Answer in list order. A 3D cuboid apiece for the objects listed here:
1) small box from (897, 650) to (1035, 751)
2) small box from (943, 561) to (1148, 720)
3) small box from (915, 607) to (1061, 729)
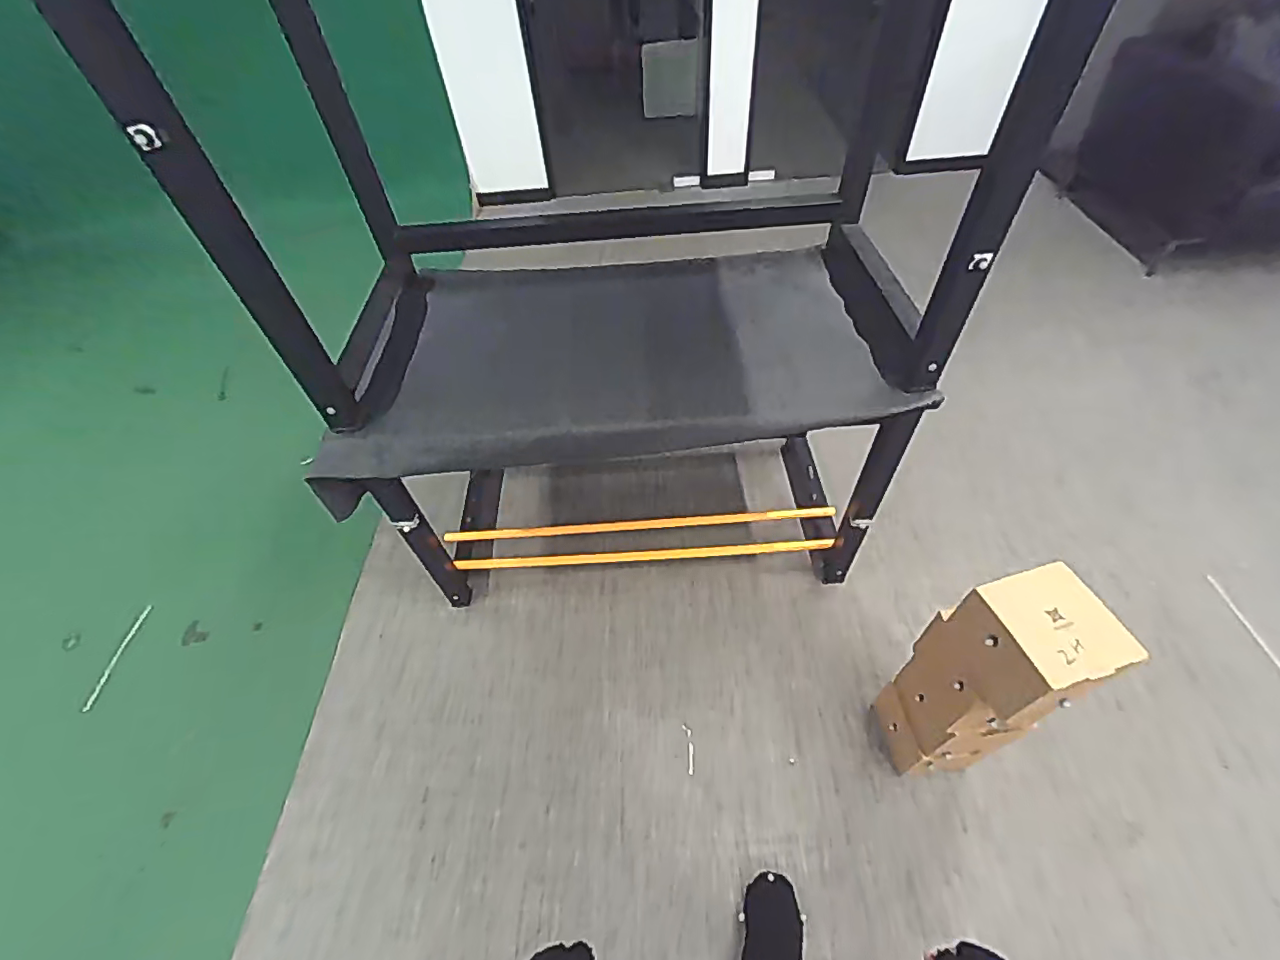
[{"bbox_3d":[0.675,0.462,1.145,0.168,0.176,0.179,-6,49,0],"label":"small box"},{"bbox_3d":[0.641,0.265,0.887,0.168,0.176,0.179,-14,52,-6],"label":"small box"},{"bbox_3d":[0.652,0.354,1.024,0.168,0.176,0.179,-4,50,2],"label":"small box"}]
